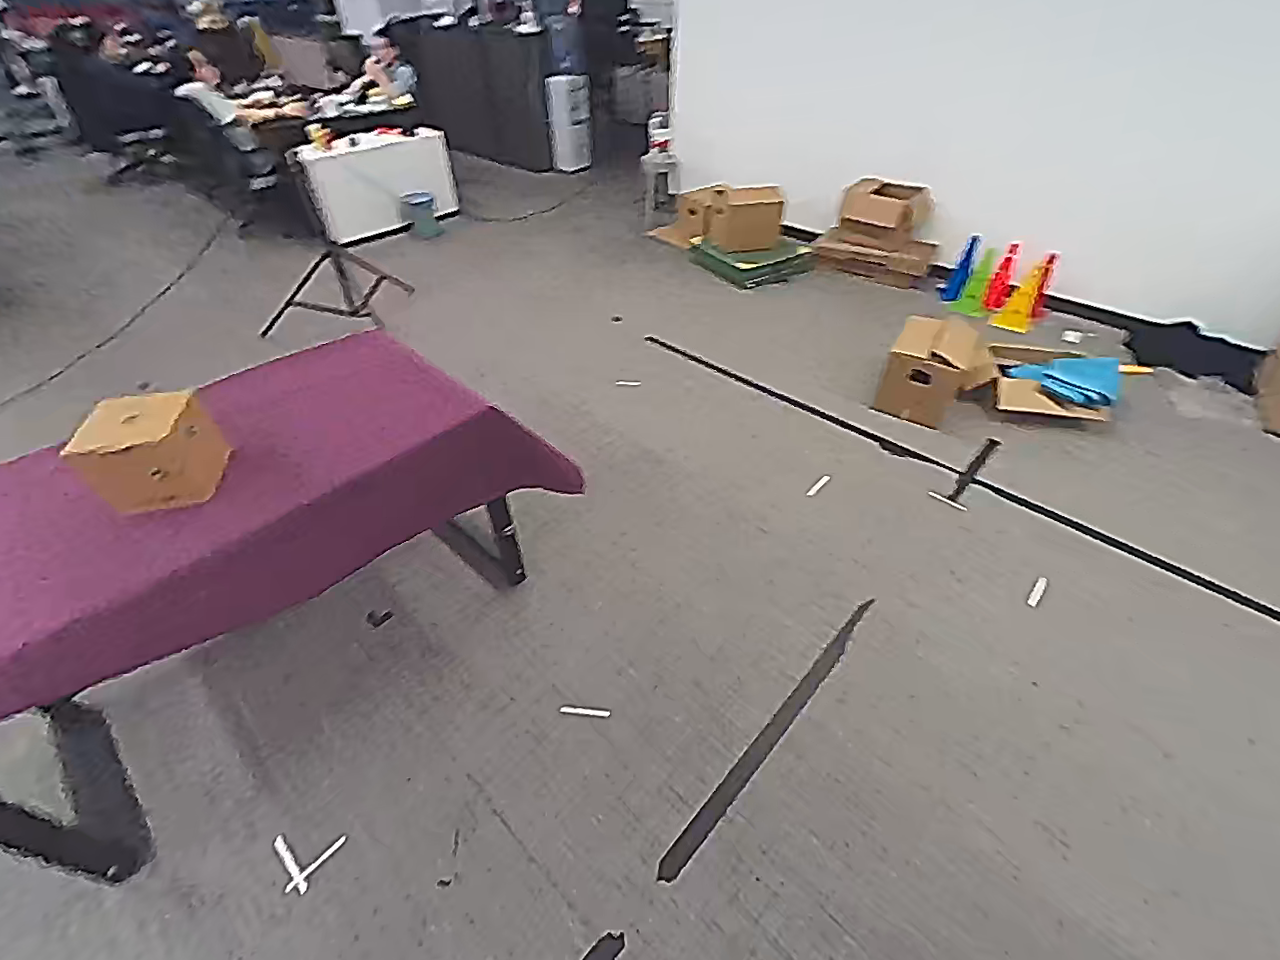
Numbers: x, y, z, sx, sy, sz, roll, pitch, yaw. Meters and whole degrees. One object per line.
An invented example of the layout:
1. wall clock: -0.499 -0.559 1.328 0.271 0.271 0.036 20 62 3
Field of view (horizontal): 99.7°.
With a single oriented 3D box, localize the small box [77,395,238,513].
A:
1. small box: -0.973 -0.049 1.114 0.168 0.176 0.179 -11 43 -12
